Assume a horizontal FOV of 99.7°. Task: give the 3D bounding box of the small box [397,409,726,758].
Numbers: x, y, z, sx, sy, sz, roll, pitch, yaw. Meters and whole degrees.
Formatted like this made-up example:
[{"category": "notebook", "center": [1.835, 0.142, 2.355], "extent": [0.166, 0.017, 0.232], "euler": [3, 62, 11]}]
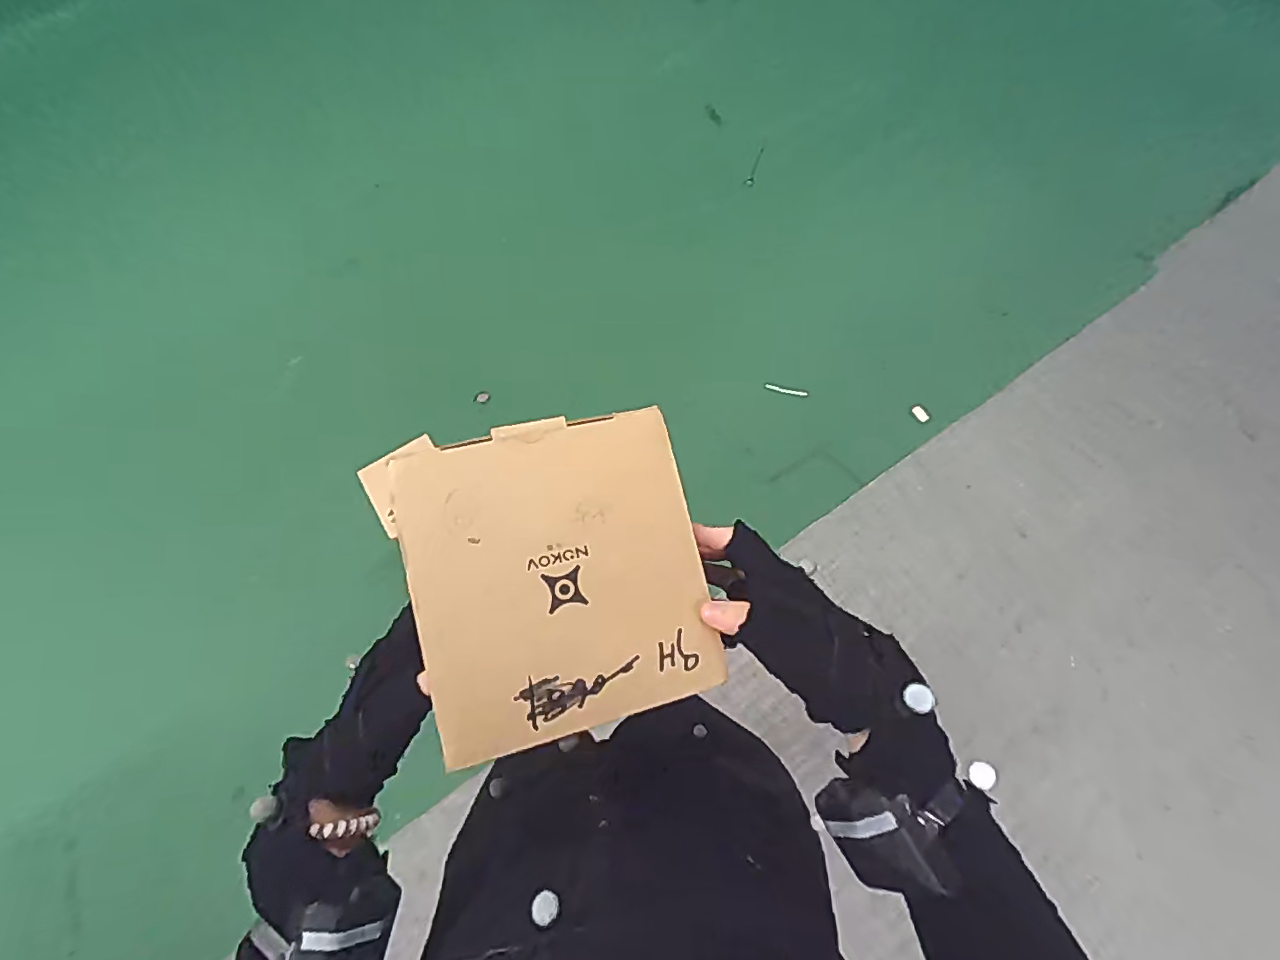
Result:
[{"category": "small box", "center": [-0.060, 0.066, 0.399], "extent": [0.168, 0.176, 0.179], "euler": [-14, 84, -12]}]
